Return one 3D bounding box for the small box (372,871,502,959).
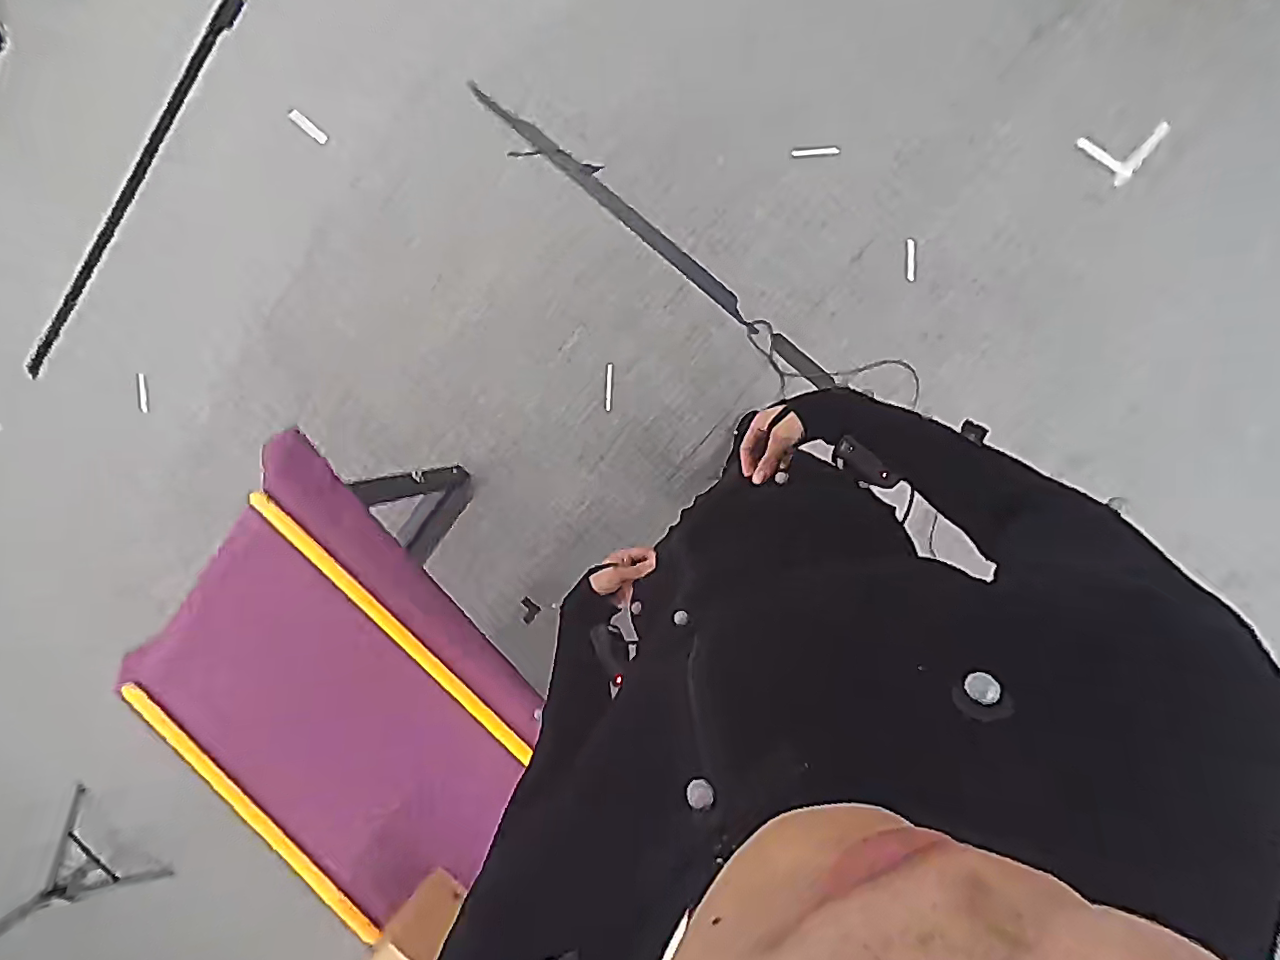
[{"bbox_3d":[-0.376,0.863,0.962,0.168,0.176,0.179,39,99,3],"label":"small box"}]
